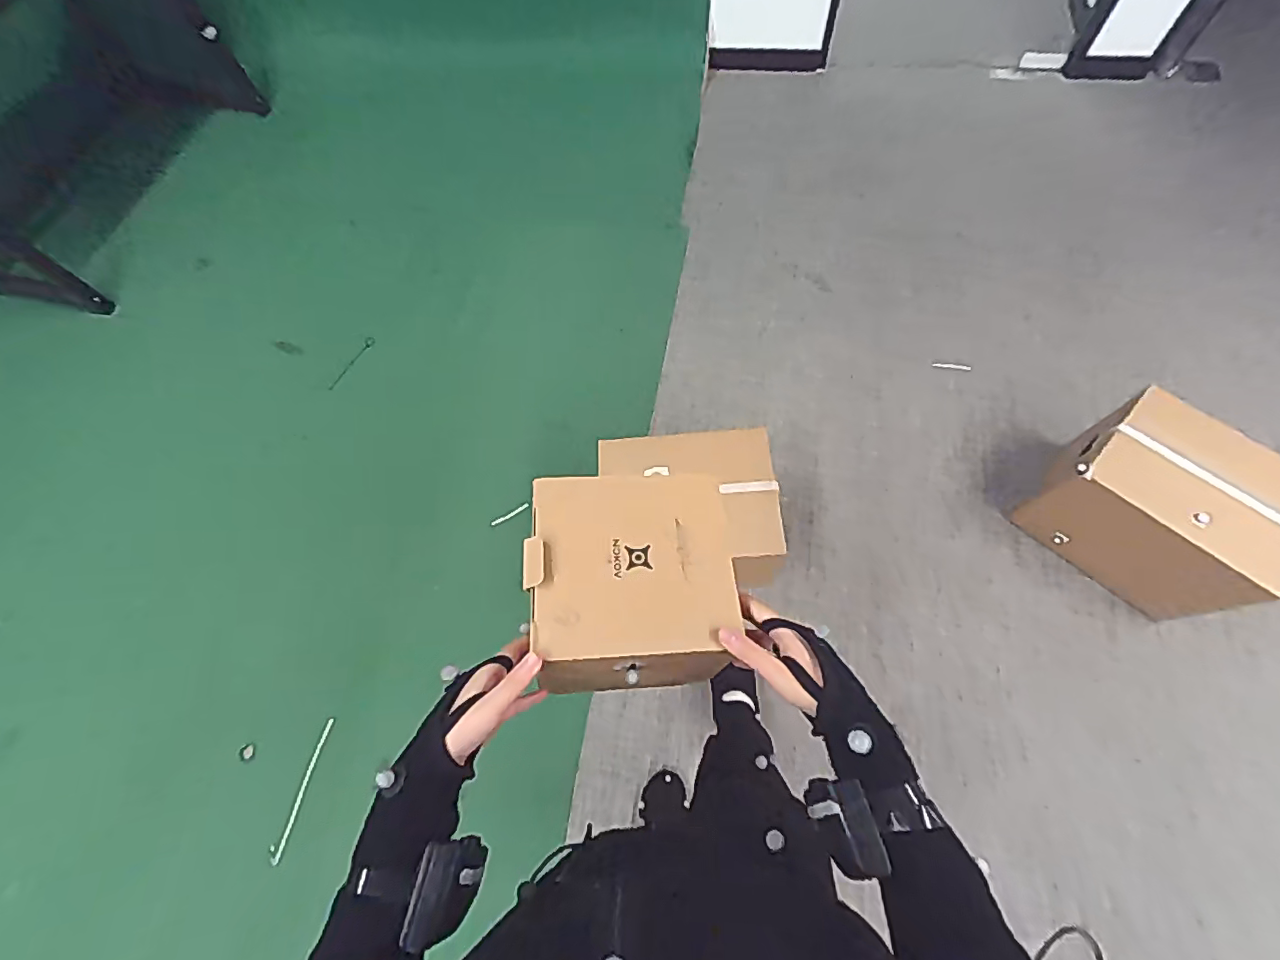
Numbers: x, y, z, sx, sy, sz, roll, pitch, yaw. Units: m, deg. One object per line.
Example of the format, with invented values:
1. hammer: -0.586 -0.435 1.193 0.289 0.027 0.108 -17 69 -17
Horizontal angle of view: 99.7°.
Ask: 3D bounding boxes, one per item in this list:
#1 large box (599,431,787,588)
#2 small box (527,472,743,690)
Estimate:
1. large box: 0.124 0.101 1.357 0.408 0.320 0.320 -5 65 4
2. small box: -0.014 0.105 0.535 0.179 0.176 0.168 -1 60 -7
